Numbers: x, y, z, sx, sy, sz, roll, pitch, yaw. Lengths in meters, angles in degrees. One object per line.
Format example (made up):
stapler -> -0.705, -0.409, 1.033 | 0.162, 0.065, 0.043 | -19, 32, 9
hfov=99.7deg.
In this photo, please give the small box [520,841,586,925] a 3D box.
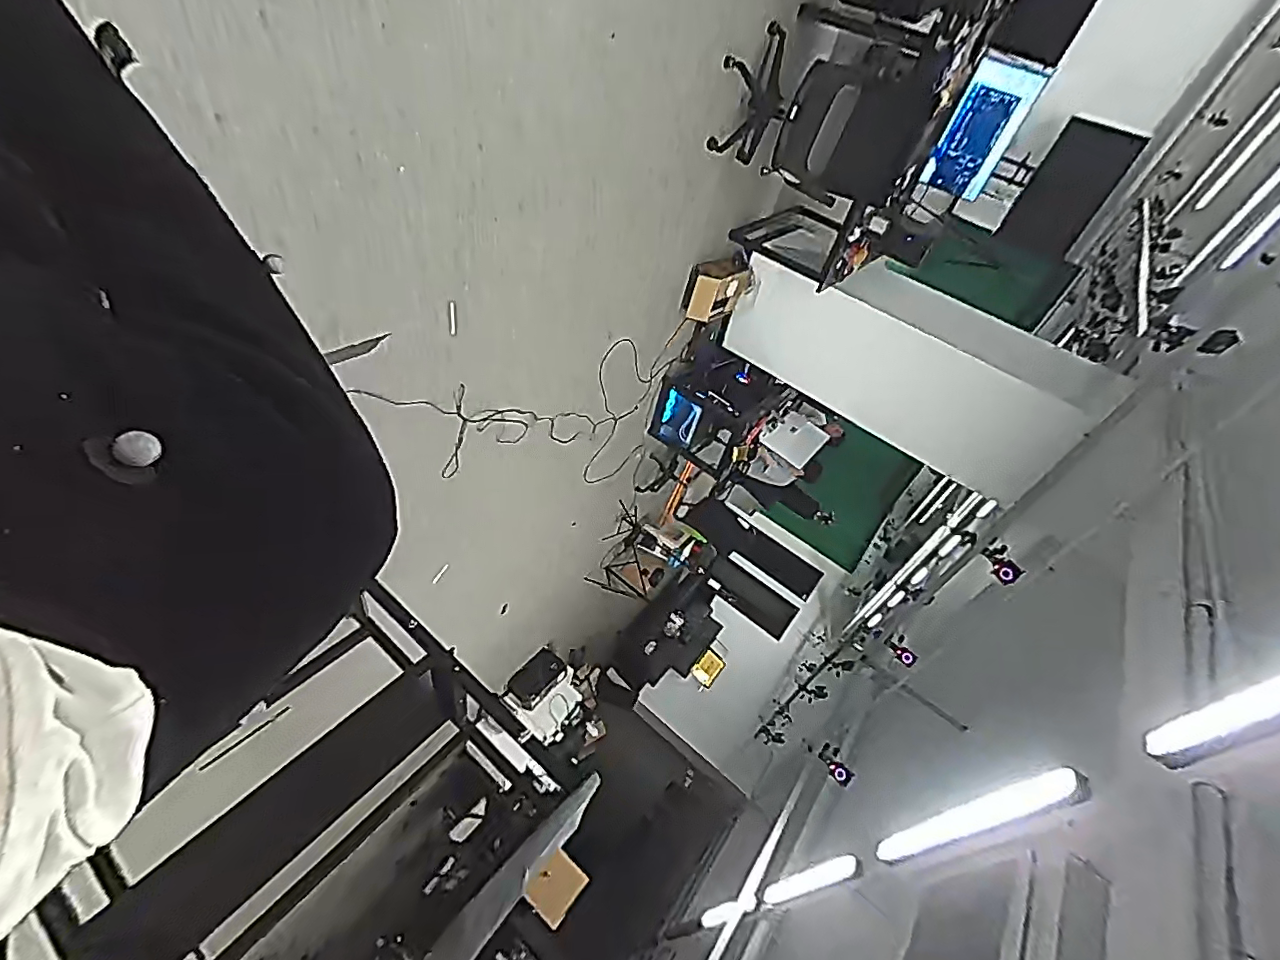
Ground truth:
small box -> -0.329, 1.501, 2.015 | 0.179, 0.176, 0.168 | -38, 156, -38
